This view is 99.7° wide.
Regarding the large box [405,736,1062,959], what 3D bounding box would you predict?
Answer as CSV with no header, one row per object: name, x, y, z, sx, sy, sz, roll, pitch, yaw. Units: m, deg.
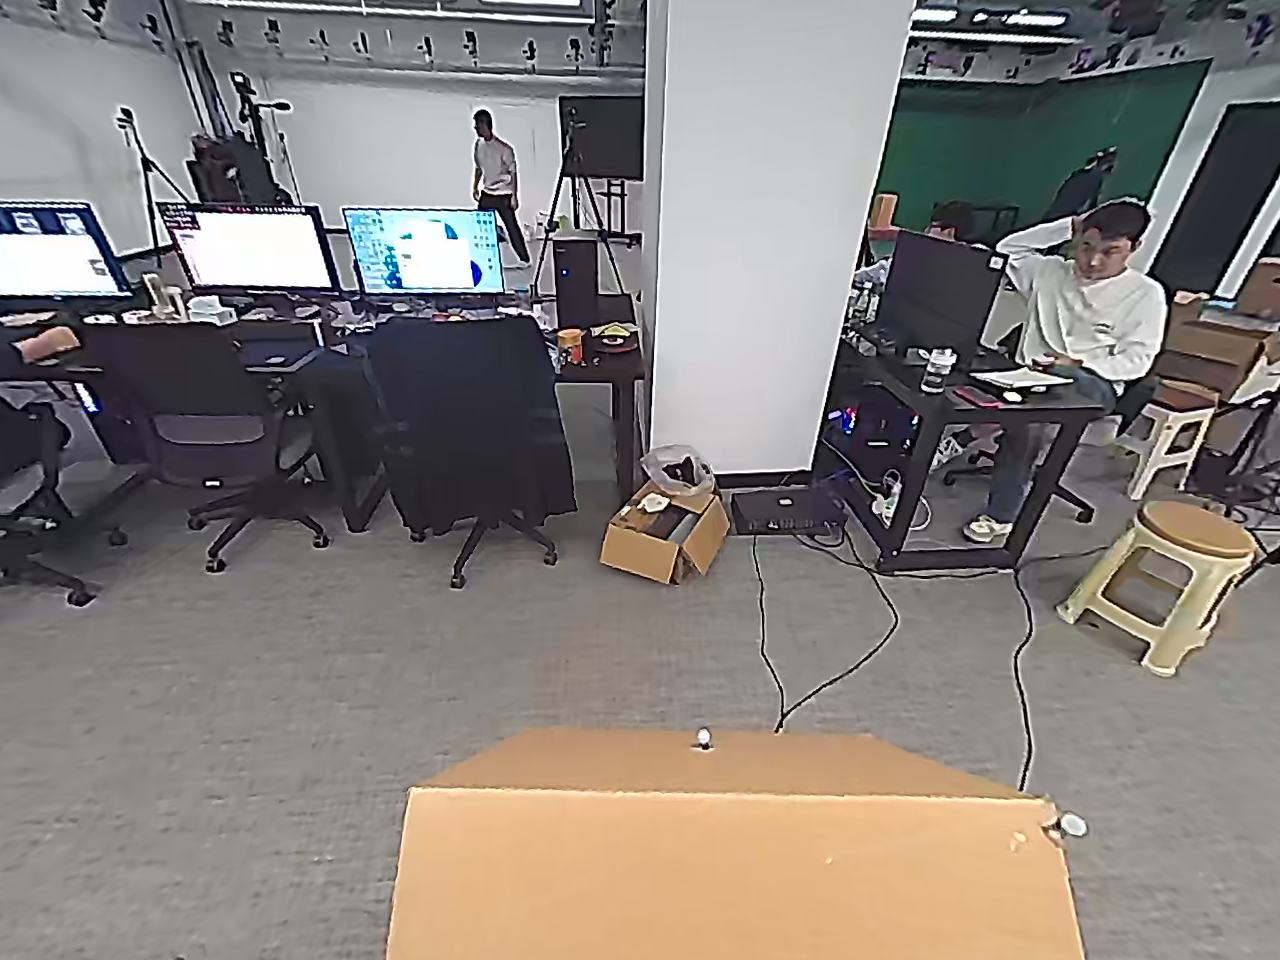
large box,0.056,0.400,0.448,0.408,0.320,0.320,-1,73,1
